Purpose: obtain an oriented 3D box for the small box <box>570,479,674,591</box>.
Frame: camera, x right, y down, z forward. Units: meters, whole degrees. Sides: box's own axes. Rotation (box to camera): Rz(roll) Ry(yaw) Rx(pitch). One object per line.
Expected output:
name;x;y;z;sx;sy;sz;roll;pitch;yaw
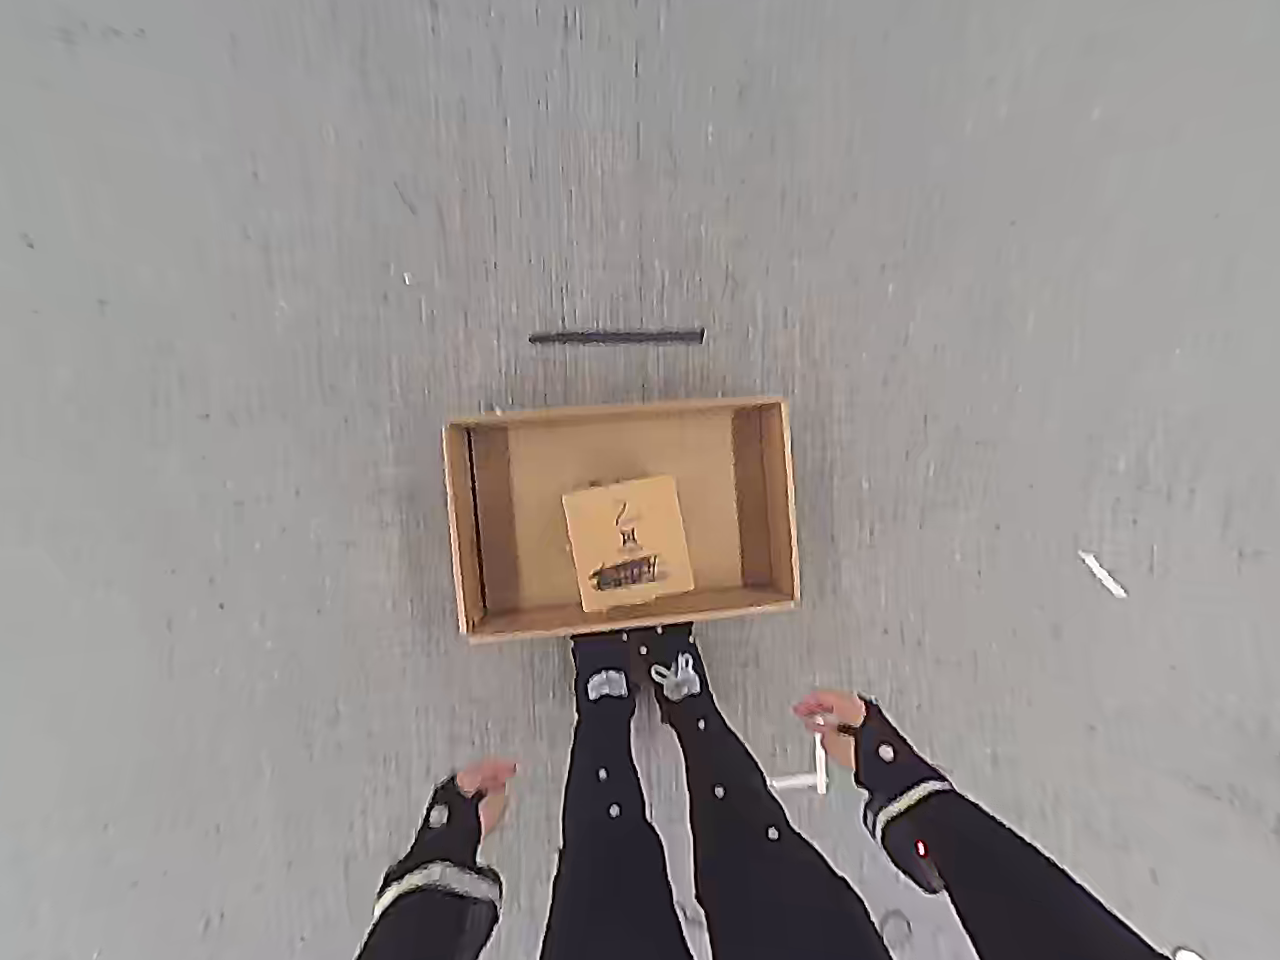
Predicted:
small box;-0.040;0.095;1.029;0.168;0.176;0.179;-10;93;-5
